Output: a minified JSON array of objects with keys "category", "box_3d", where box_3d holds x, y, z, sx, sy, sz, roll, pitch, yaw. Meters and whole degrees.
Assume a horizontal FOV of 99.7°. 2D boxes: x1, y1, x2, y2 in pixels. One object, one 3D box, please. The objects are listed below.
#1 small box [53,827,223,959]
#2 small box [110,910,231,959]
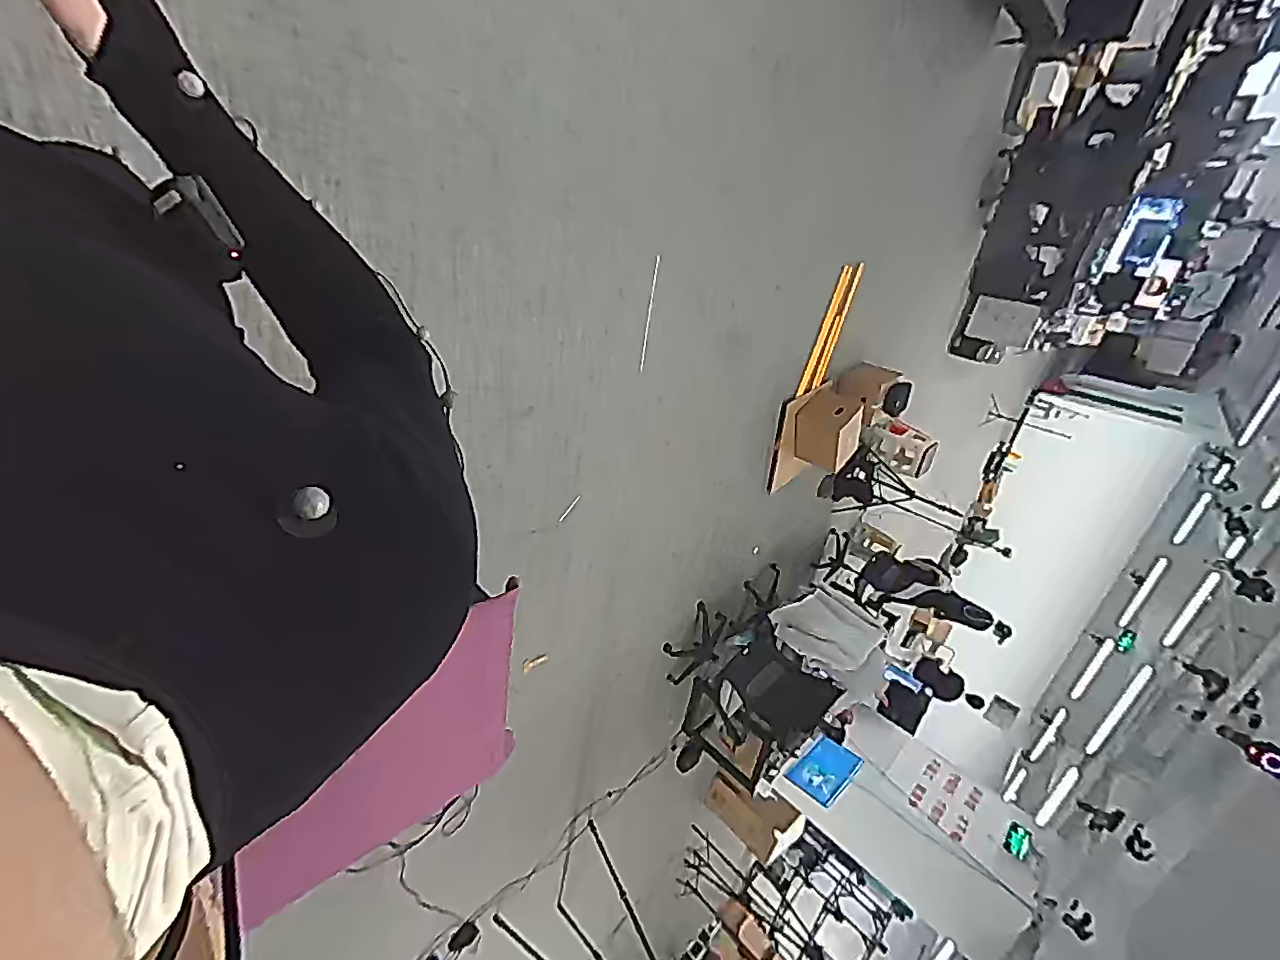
[{"category":"small box","box_3d":[-0.809,0.721,0.881,0.168,0.176,0.179,-21,128,-42]},{"category":"small box","box_3d":[-0.693,0.786,0.783,0.168,0.176,0.179,-21,129,-42]}]
